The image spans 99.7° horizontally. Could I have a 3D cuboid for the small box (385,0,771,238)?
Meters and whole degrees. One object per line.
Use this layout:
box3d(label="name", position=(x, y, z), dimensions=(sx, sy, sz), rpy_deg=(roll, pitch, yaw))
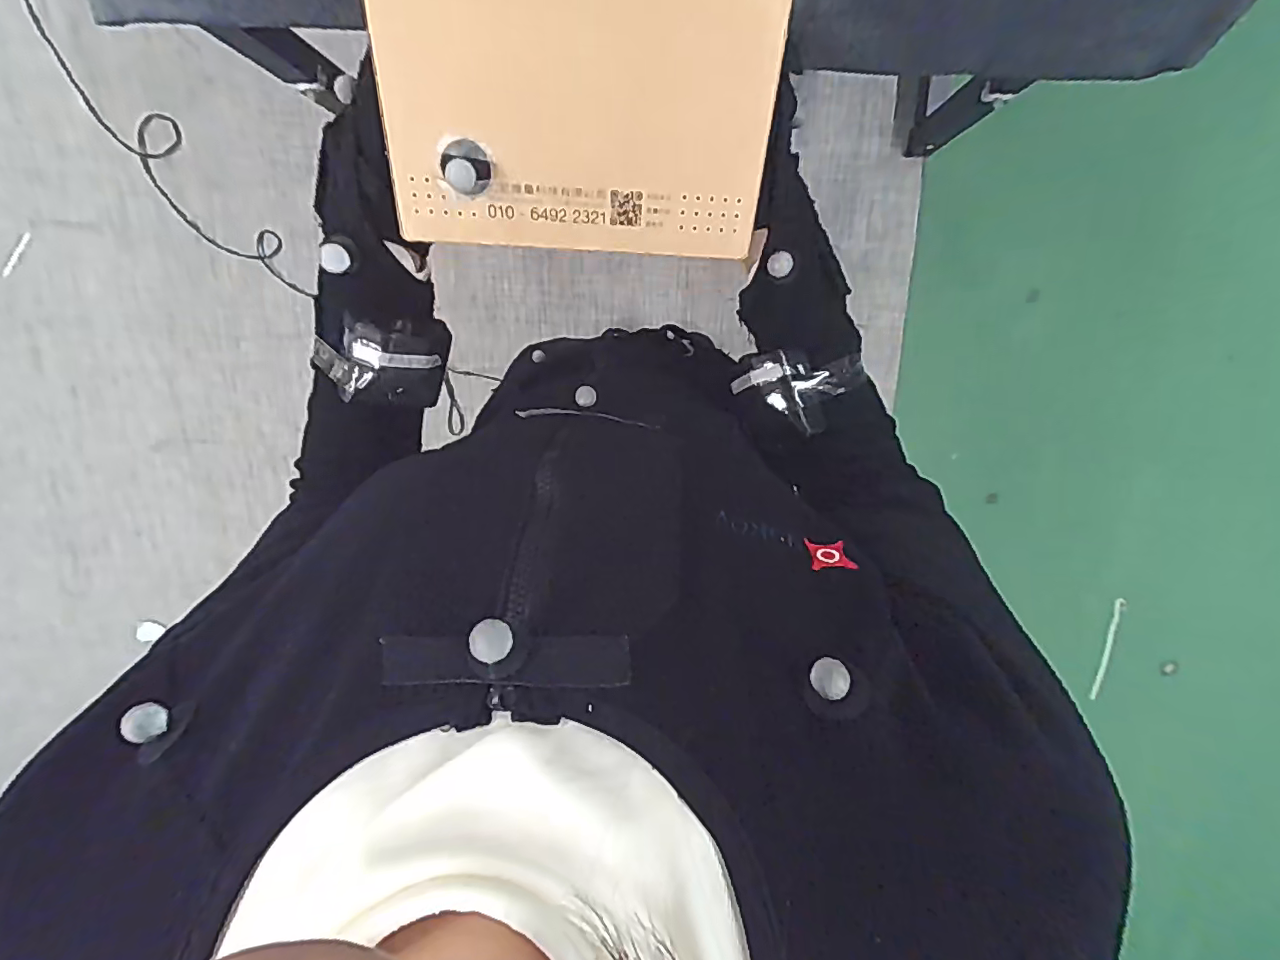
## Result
box3d(label="small box", position=(-0.028, -0.238, 0.293), dimensions=(0.168, 0.179, 0.176), rpy_deg=(2, 123, -5))
